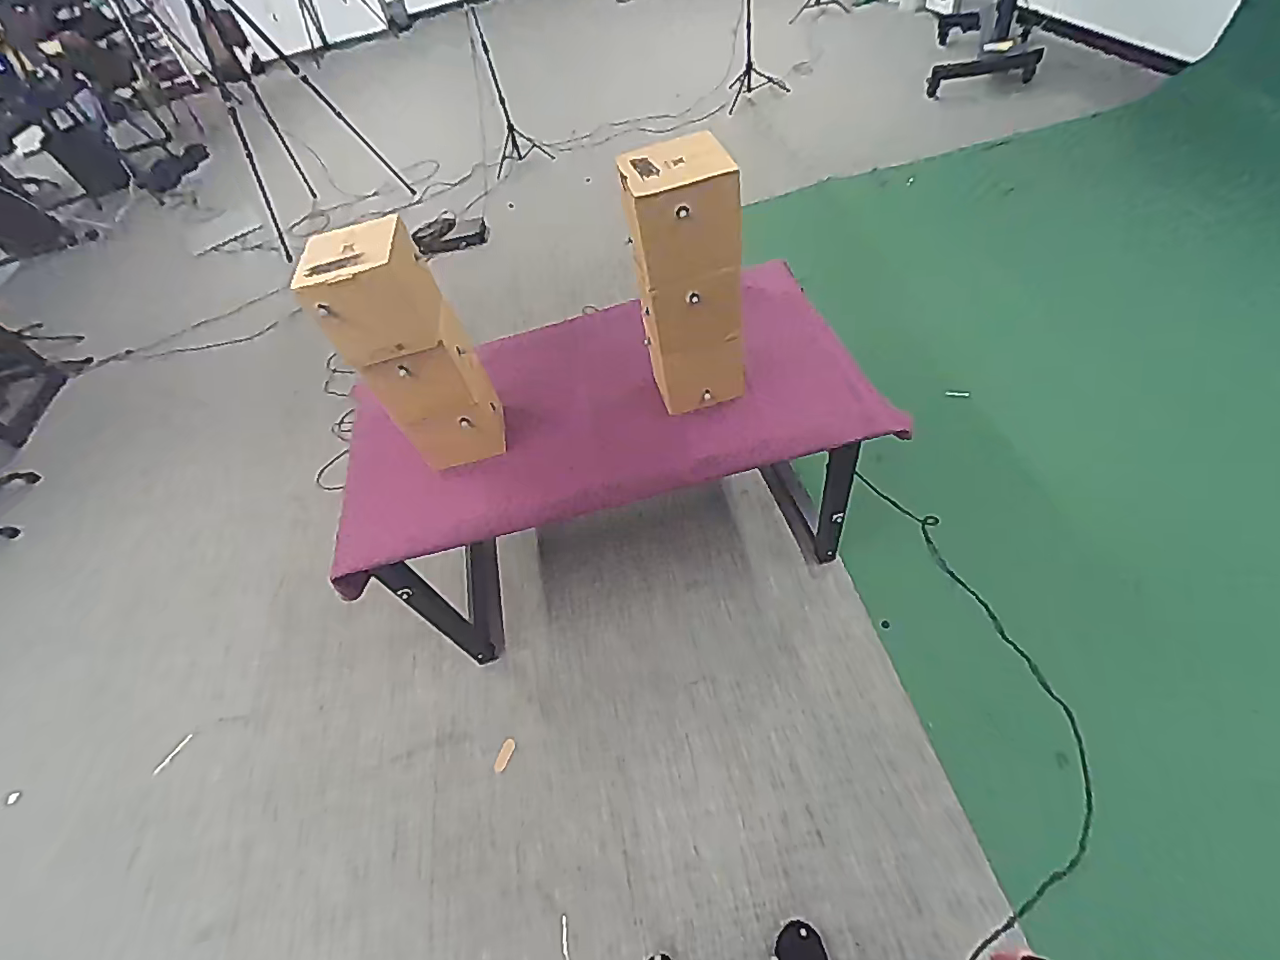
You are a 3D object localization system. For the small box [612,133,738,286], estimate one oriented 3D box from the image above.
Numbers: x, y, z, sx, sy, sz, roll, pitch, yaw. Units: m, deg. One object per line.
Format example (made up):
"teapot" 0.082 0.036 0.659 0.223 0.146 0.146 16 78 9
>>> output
"small box" 0.065 -0.474 0.960 0.179 0.176 0.168 -17 53 0

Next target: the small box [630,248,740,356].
"small box" 0.093 -0.376 1.088 0.179 0.176 0.168 -16 53 1

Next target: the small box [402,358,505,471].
"small box" -0.417 -0.148 1.241 0.179 0.176 0.168 -15 52 1

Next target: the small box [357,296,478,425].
"small box" -0.445 -0.241 1.112 0.179 0.176 0.168 -16 53 1

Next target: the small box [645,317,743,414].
"small box" 0.122 -0.278 1.216 0.179 0.176 0.168 -17 51 0
